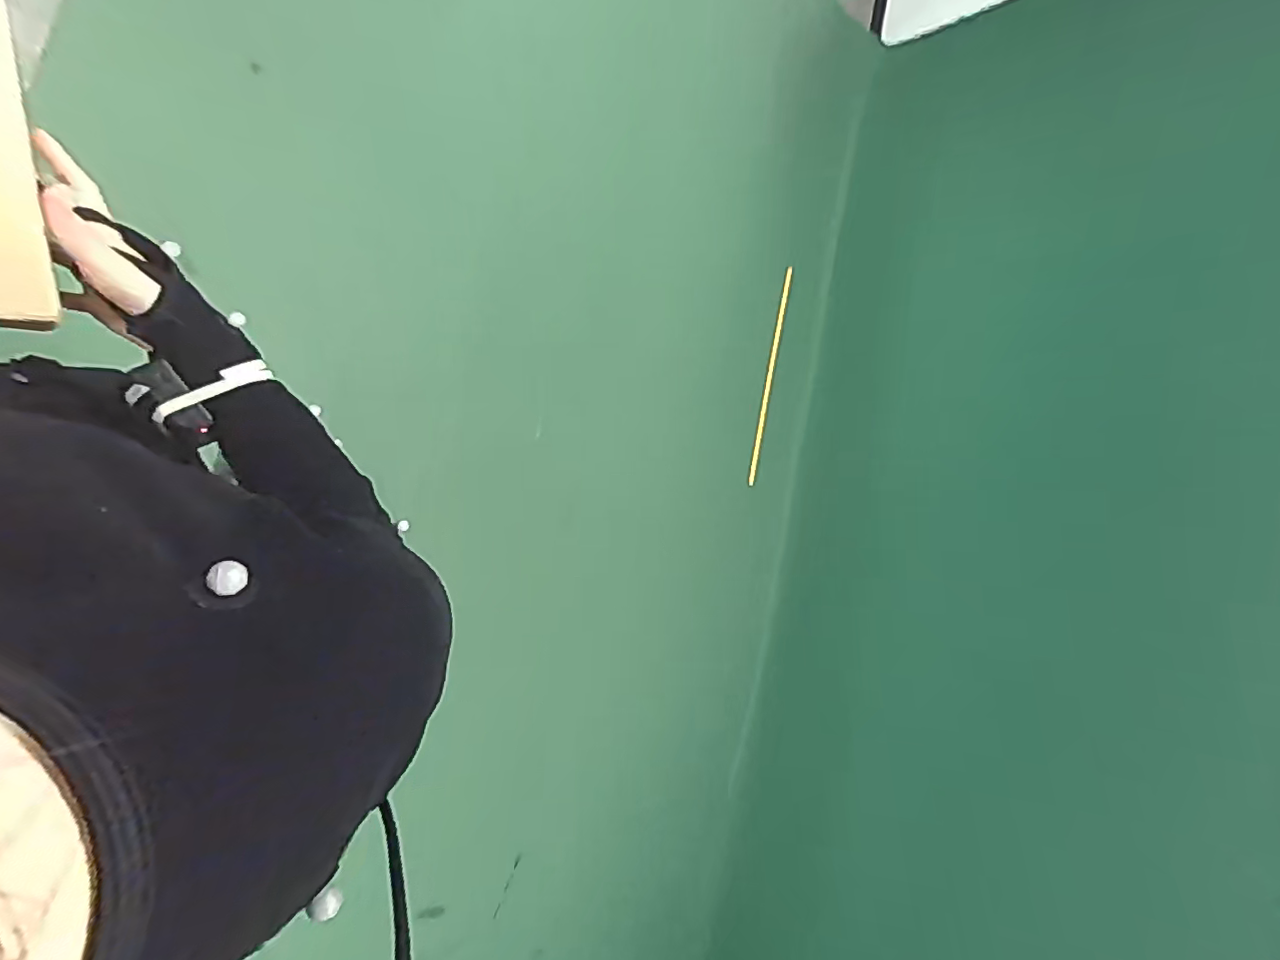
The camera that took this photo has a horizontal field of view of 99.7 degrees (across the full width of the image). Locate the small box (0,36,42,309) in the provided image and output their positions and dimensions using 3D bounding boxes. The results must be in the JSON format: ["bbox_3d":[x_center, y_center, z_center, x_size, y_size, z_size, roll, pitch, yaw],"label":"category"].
[{"bbox_3d":[-0.457,-0.191,0.287,0.168,0.176,0.179,-11,109,-48],"label":"small box"}]
